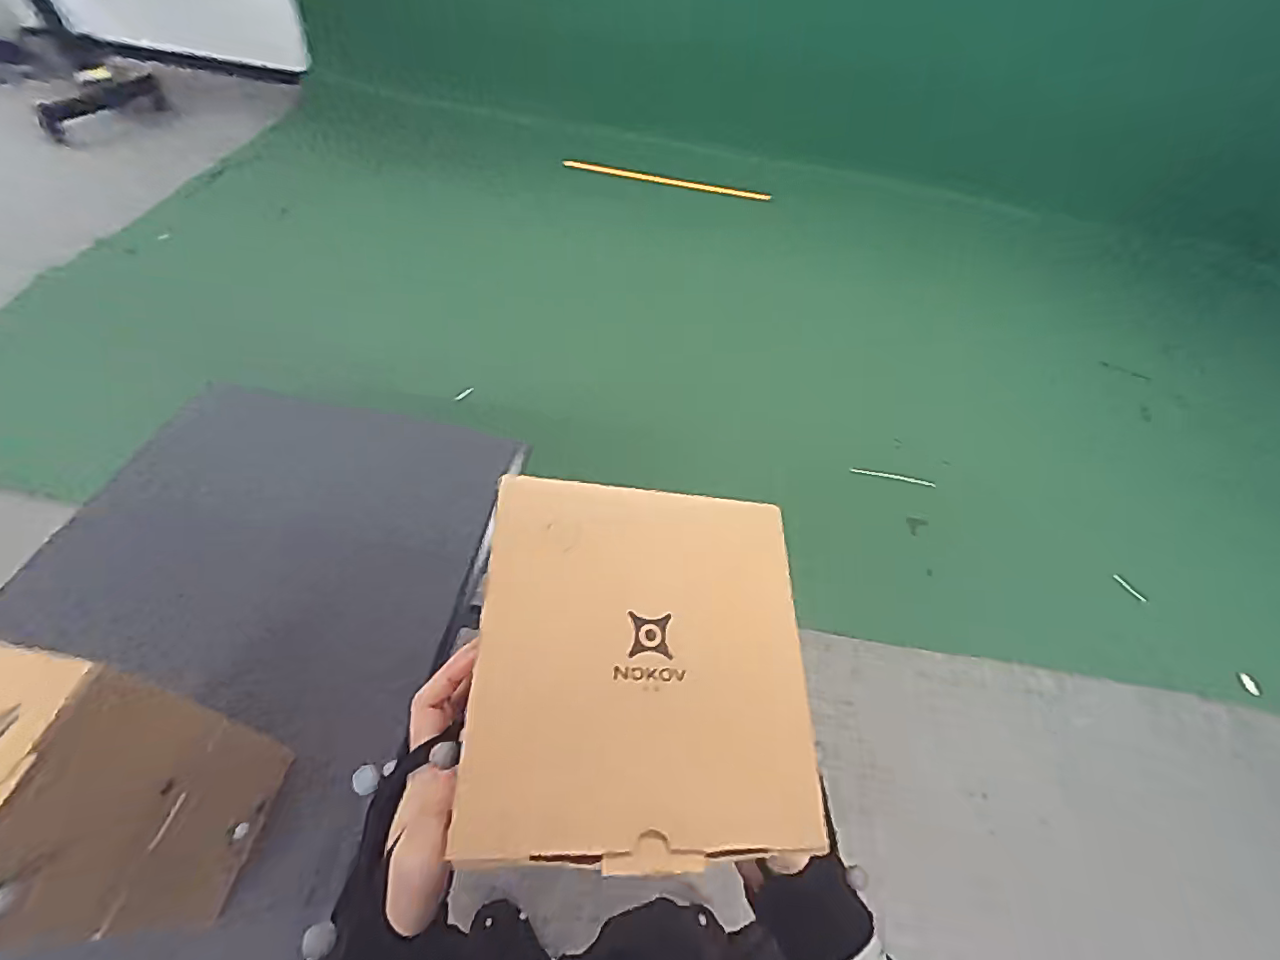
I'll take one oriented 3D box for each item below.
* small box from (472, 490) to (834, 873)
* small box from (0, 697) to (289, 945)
[{"bbox_3d":[-0.010,0.129,0.339,0.168,0.176,0.179,7,60,-13],"label":"small box"},{"bbox_3d":[-0.502,0.334,0.534,0.179,0.176,0.168,10,53,0],"label":"small box"}]
